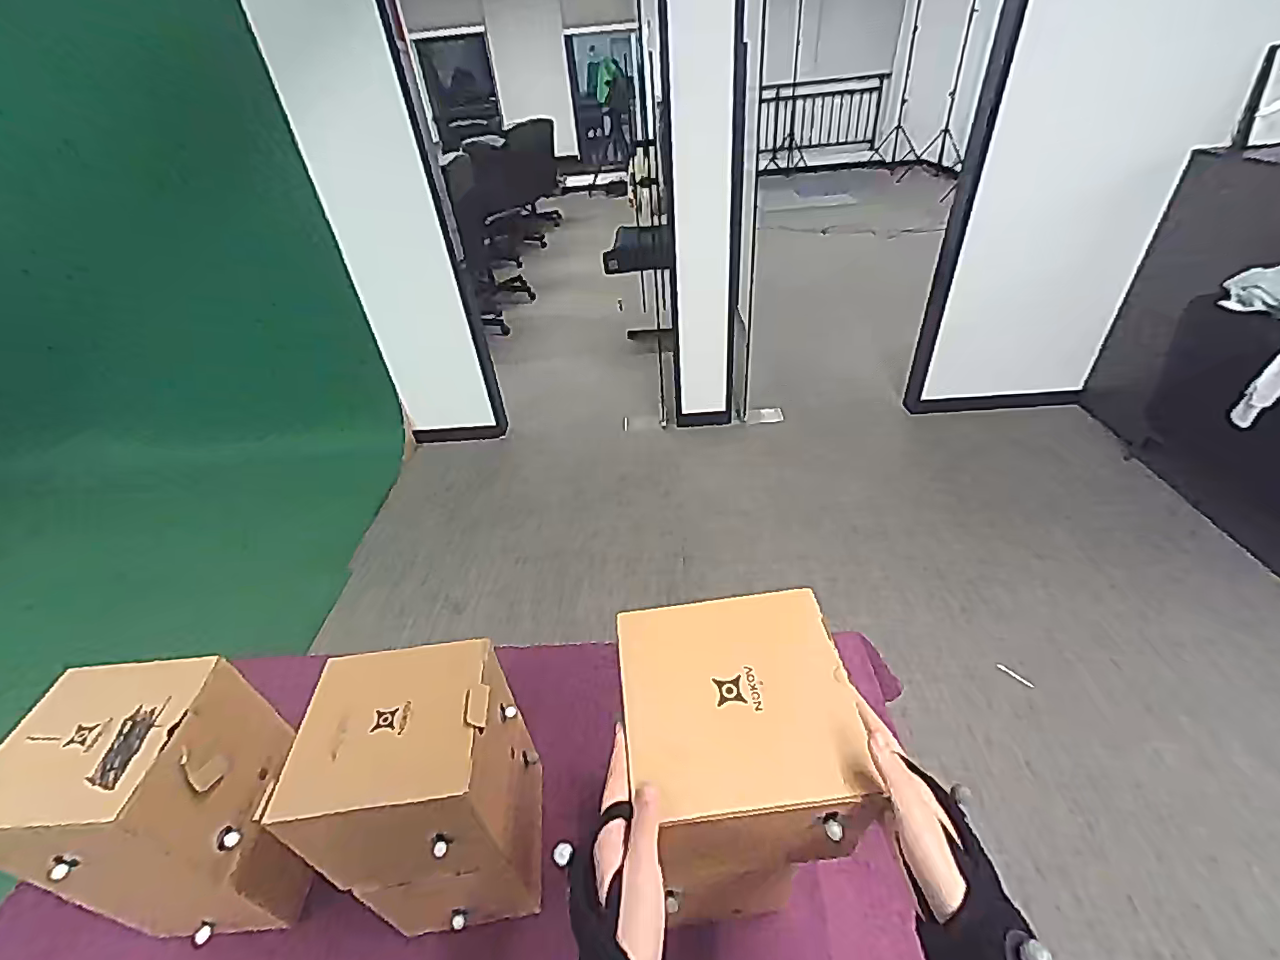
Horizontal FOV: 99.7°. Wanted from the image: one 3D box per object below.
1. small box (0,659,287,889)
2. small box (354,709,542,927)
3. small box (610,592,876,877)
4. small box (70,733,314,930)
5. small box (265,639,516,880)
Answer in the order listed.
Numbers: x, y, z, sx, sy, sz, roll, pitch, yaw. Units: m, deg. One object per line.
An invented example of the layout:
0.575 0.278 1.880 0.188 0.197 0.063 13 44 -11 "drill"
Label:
-0.532 0.317 0.584 0.179 0.176 0.168 -5 39 2 "small box"
-0.222 0.422 0.680 0.168 0.176 0.179 -8 39 -3 "small box"
0.074 0.222 0.471 0.179 0.176 0.168 -7 44 -1 "small box"
-0.520 0.445 0.686 0.179 0.176 0.168 -5 38 1 "small box"
-0.238 0.296 0.576 0.179 0.176 0.168 -7 38 -1 "small box"
